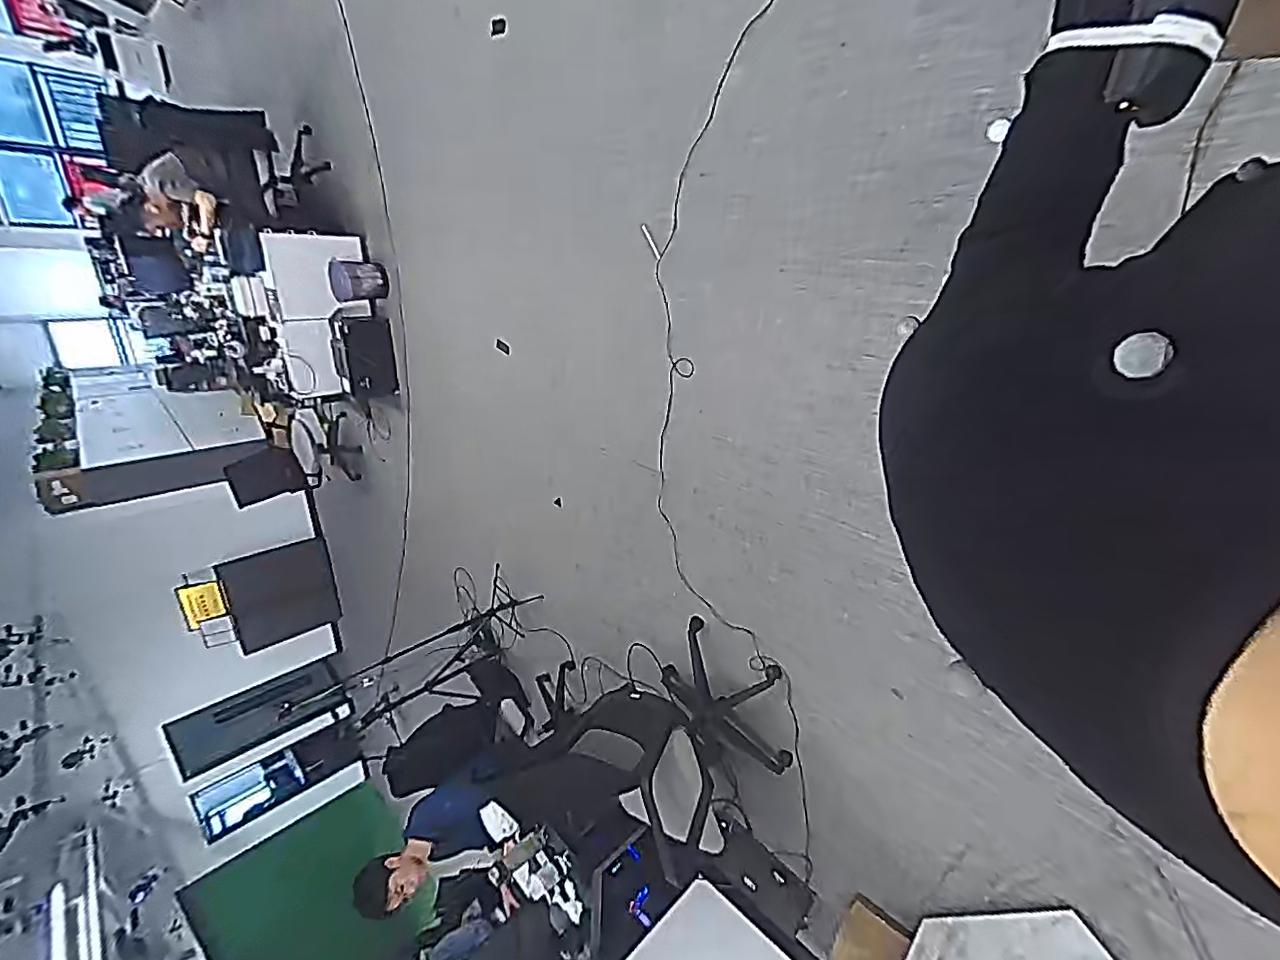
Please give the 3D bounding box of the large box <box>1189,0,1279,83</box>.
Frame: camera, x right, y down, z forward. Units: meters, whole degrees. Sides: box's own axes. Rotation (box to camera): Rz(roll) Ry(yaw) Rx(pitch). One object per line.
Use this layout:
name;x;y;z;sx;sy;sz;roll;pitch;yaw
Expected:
large box;0.580;-0.414;0.242;0.408;0.320;0.320;25;124;36
